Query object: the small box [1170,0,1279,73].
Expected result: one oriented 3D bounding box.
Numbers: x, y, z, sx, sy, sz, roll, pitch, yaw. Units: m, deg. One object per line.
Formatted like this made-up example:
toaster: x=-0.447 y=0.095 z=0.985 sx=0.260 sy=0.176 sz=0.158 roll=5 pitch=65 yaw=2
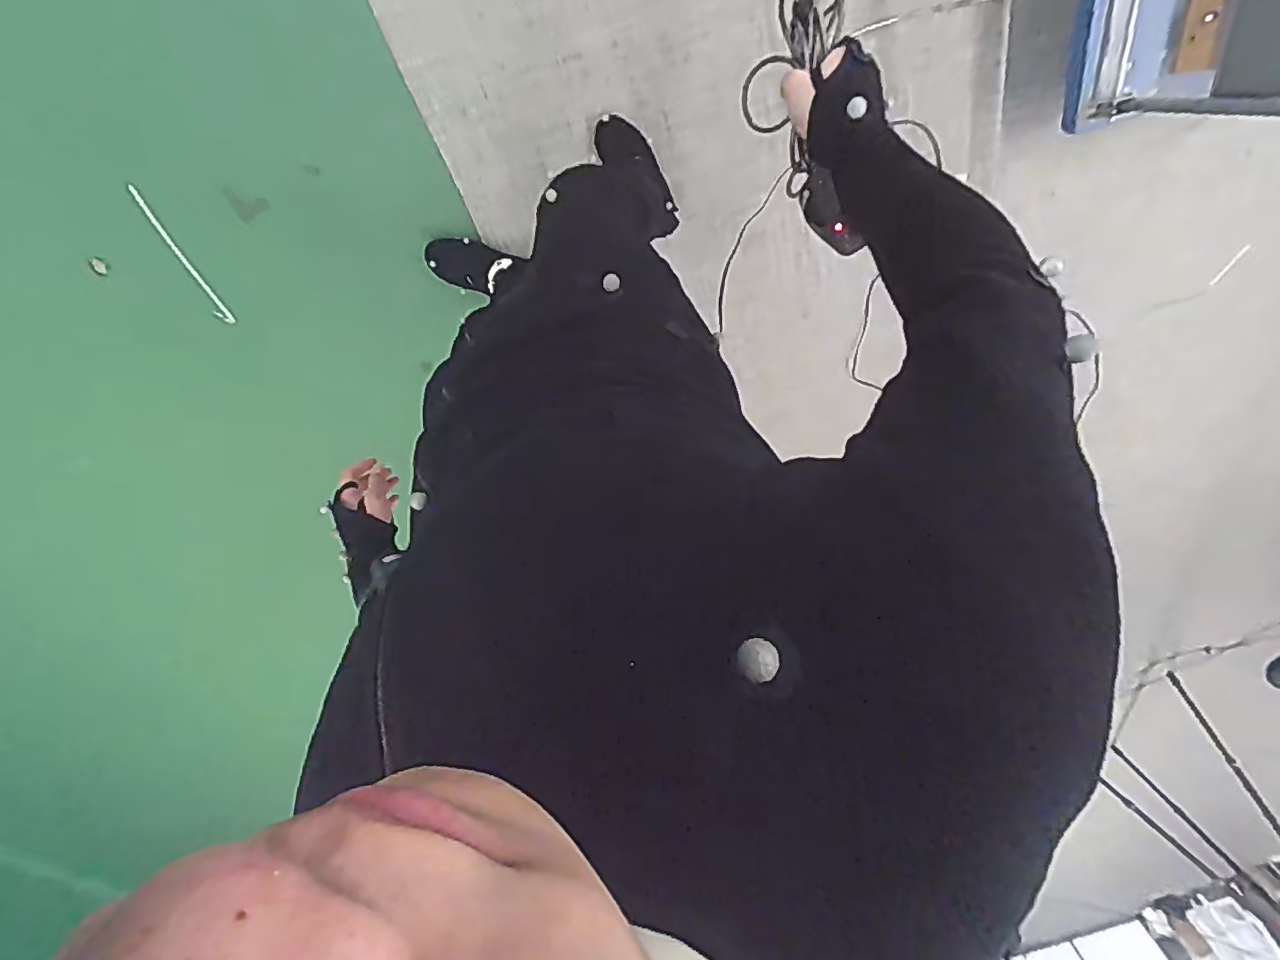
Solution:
small box: x=1.285 y=-0.969 z=1.123 sx=0.179 sy=0.176 sz=0.168 roll=-16 pitch=125 yaw=1
